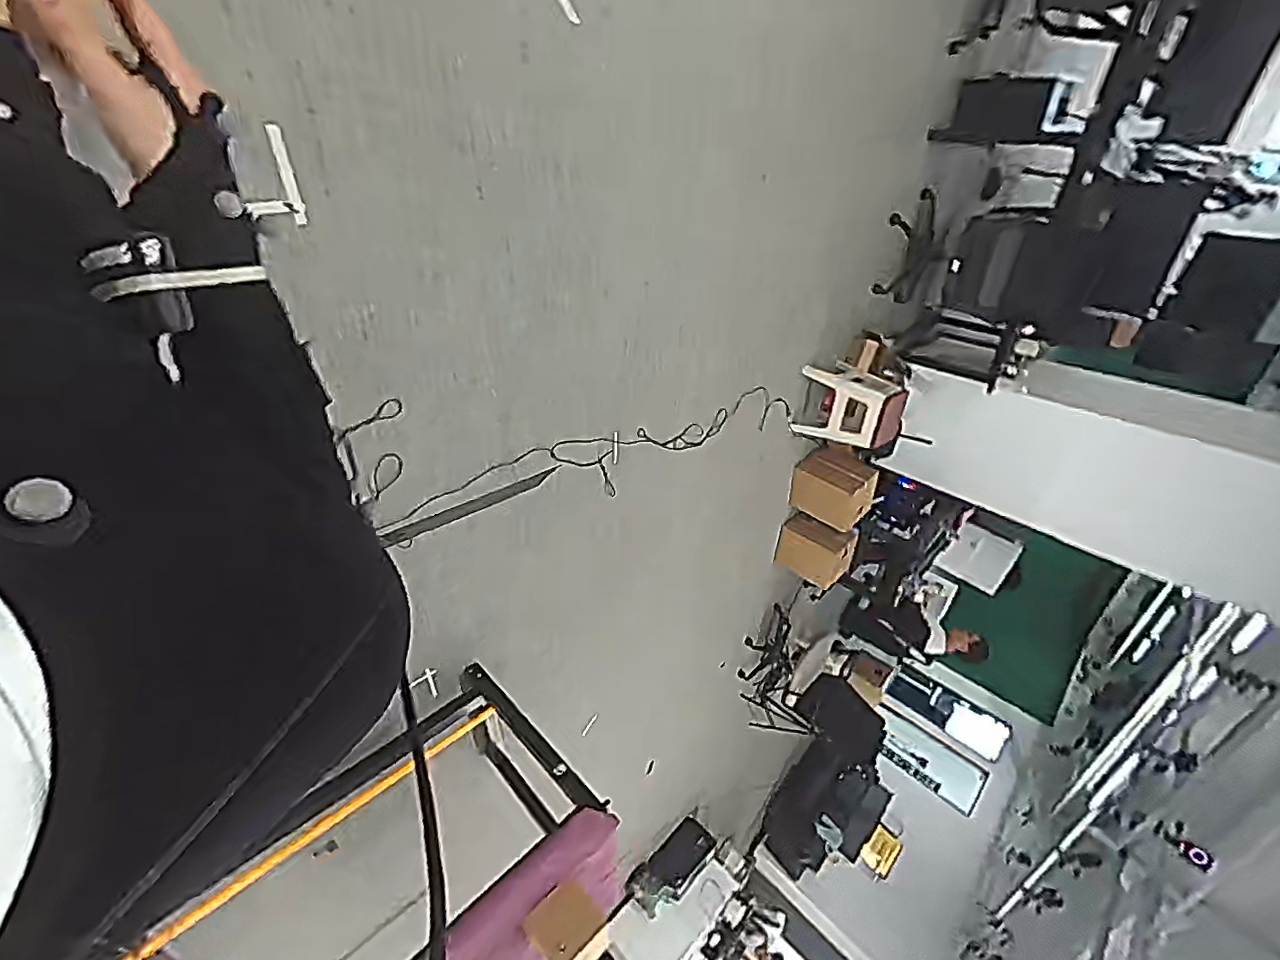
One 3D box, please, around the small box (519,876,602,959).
[{"bbox_3d":[-0.227,1.286,1.528,0.179,0.176,0.168,-27,133,-34],"label":"small box"}]
